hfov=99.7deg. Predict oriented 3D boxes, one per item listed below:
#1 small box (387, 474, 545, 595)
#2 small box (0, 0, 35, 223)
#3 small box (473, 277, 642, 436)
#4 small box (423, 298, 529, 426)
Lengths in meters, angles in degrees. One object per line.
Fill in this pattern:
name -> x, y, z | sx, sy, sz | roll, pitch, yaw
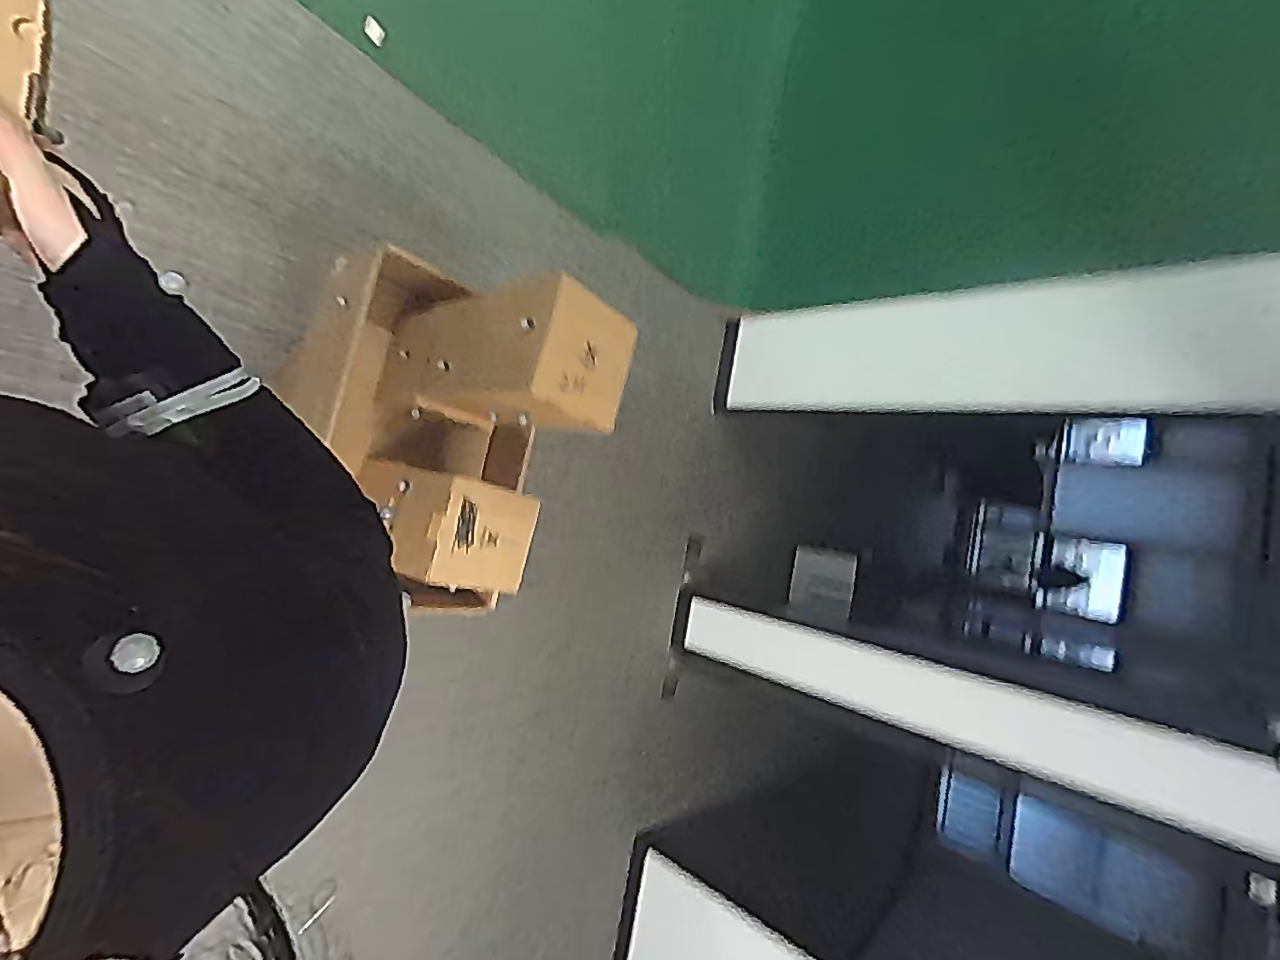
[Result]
small box -> -0.298, 0.090, 0.920 | 0.179, 0.176, 0.168 | 23, 78, -48
small box -> -0.478, -0.270, 0.303 | 0.179, 0.176, 0.168 | 3, 90, -48
small box -> -0.128, -0.179, 0.825 | 0.168, 0.176, 0.179 | 24, 79, -47
small box -> -0.246, -0.192, 0.939 | 0.179, 0.176, 0.168 | 19, 82, -48
